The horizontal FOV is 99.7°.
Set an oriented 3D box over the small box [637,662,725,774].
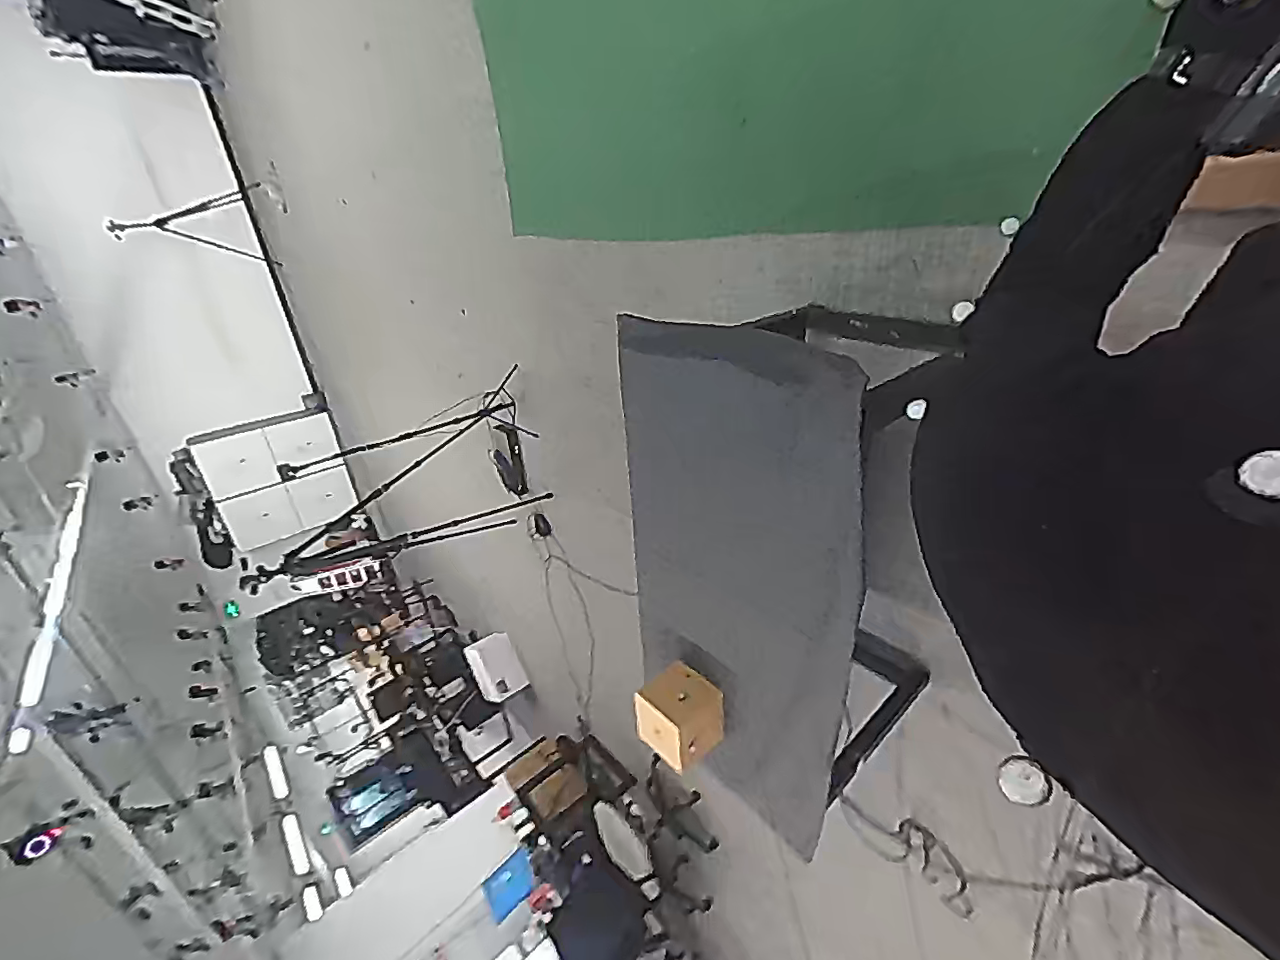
[{"bbox_3d":[0.113,0.626,1.445,0.168,0.176,0.179,23,128,44],"label":"small box"}]
